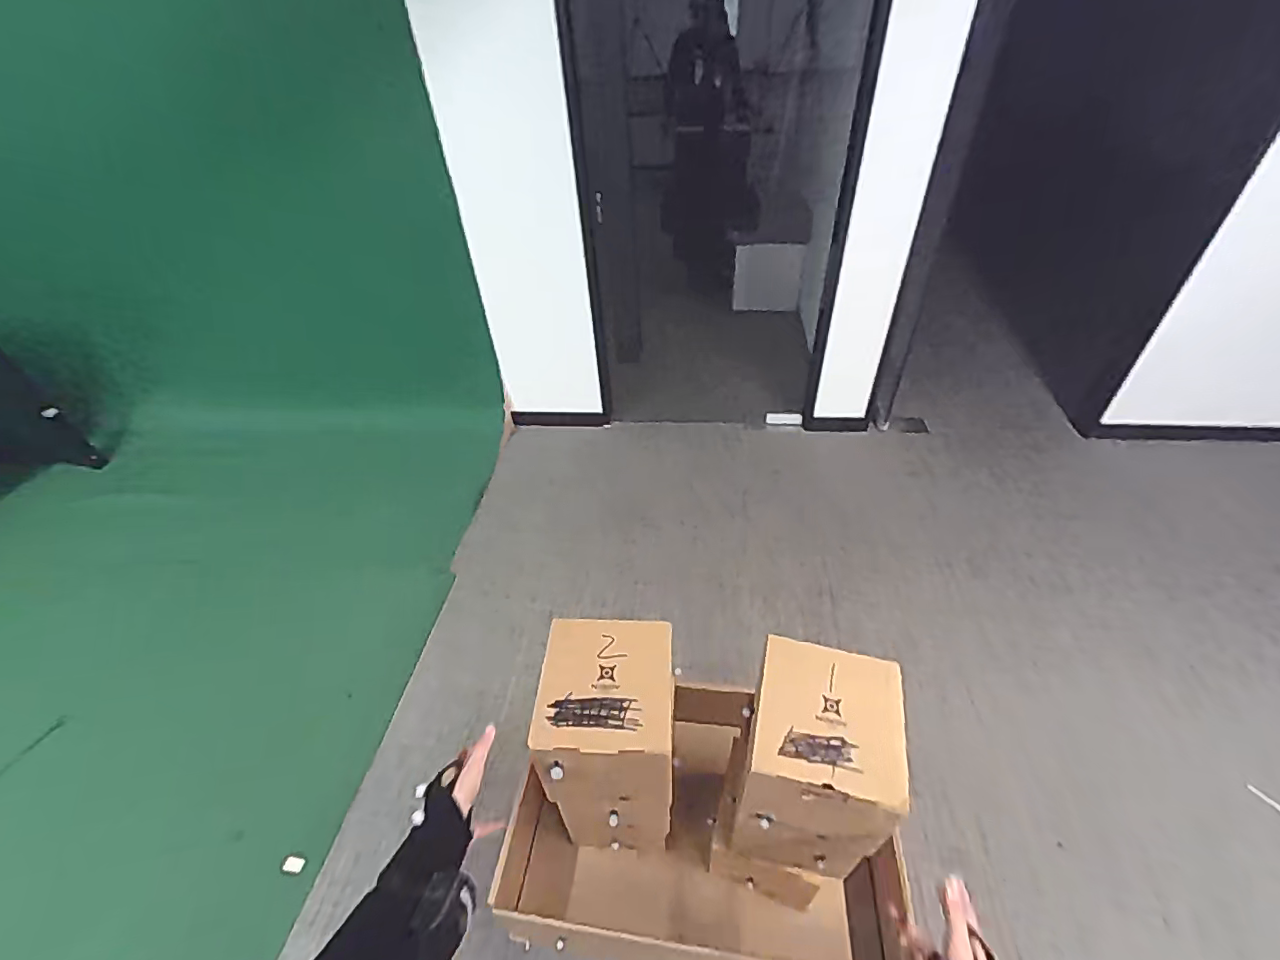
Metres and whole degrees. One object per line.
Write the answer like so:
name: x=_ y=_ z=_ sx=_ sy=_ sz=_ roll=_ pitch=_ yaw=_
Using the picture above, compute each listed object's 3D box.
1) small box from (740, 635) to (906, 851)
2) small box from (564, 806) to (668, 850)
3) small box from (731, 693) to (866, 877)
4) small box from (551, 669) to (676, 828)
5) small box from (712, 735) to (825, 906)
small box: x=0.223 y=0.331 z=0.682 sx=0.168 sy=0.176 sz=0.179 roll=10 pitch=44 yaw=14
small box: x=-0.030 y=0.531 z=0.965 sx=0.168 sy=0.176 sz=0.179 roll=1 pitch=43 yaw=6
small box: x=0.228 y=0.449 z=0.795 sx=0.168 sy=0.176 sz=0.179 roll=8 pitch=44 yaw=12
small box: x=-0.030 y=0.420 z=0.844 sx=0.168 sy=0.176 sz=0.179 roll=2 pitch=43 yaw=5
small box: x=0.219 y=0.569 z=0.906 sx=0.168 sy=0.176 sz=0.179 roll=11 pitch=45 yaw=16
